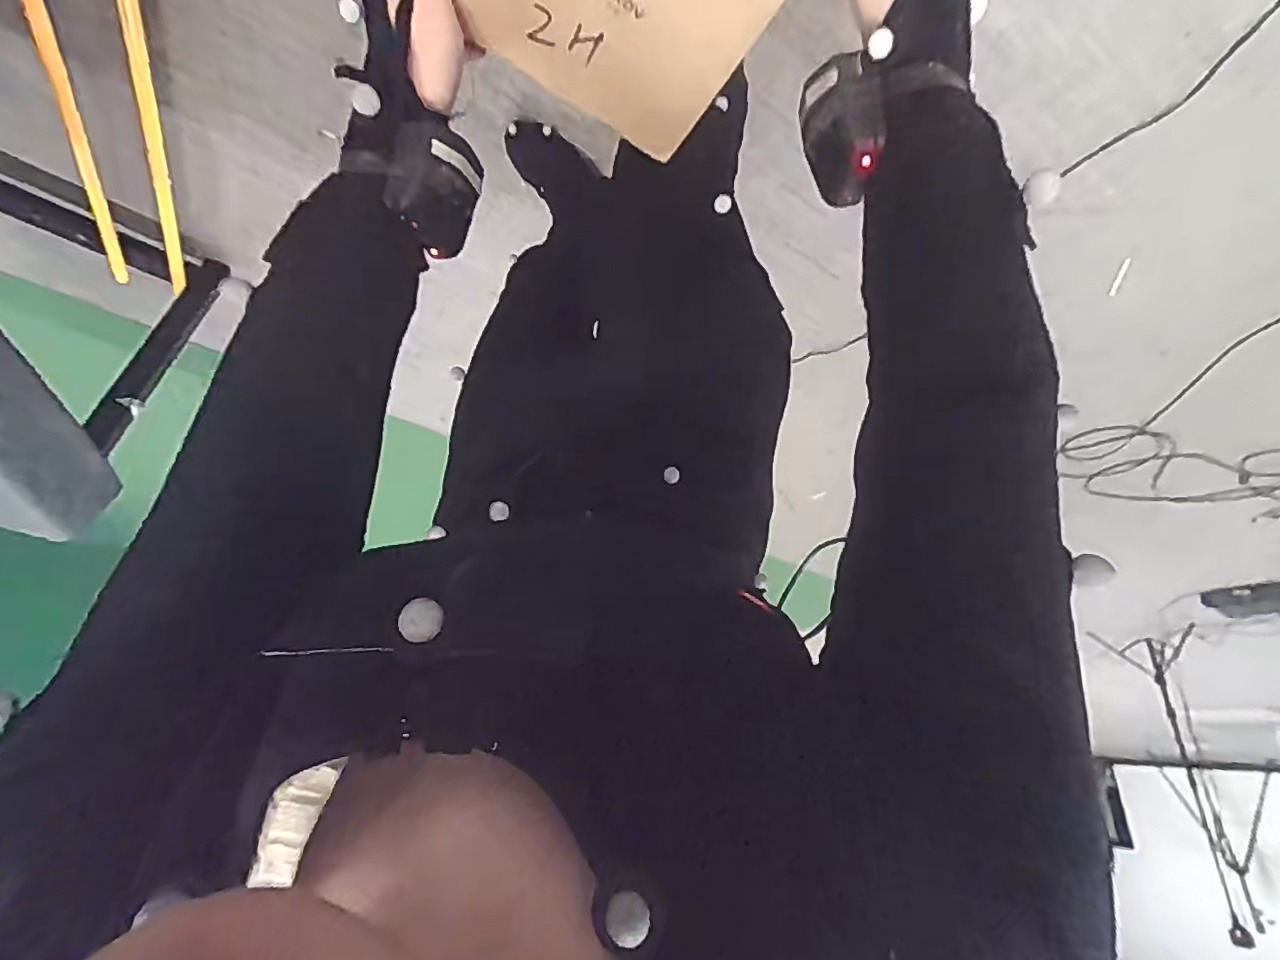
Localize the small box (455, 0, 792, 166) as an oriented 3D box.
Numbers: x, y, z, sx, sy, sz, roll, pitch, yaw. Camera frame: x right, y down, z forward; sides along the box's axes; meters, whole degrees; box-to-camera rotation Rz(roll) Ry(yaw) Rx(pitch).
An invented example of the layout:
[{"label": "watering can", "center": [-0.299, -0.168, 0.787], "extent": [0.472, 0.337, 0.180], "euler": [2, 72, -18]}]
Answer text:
[{"label": "small box", "center": [0.004, -0.357, 0.335], "extent": [0.168, 0.176, 0.179], "euler": [19, 158, -24]}]
